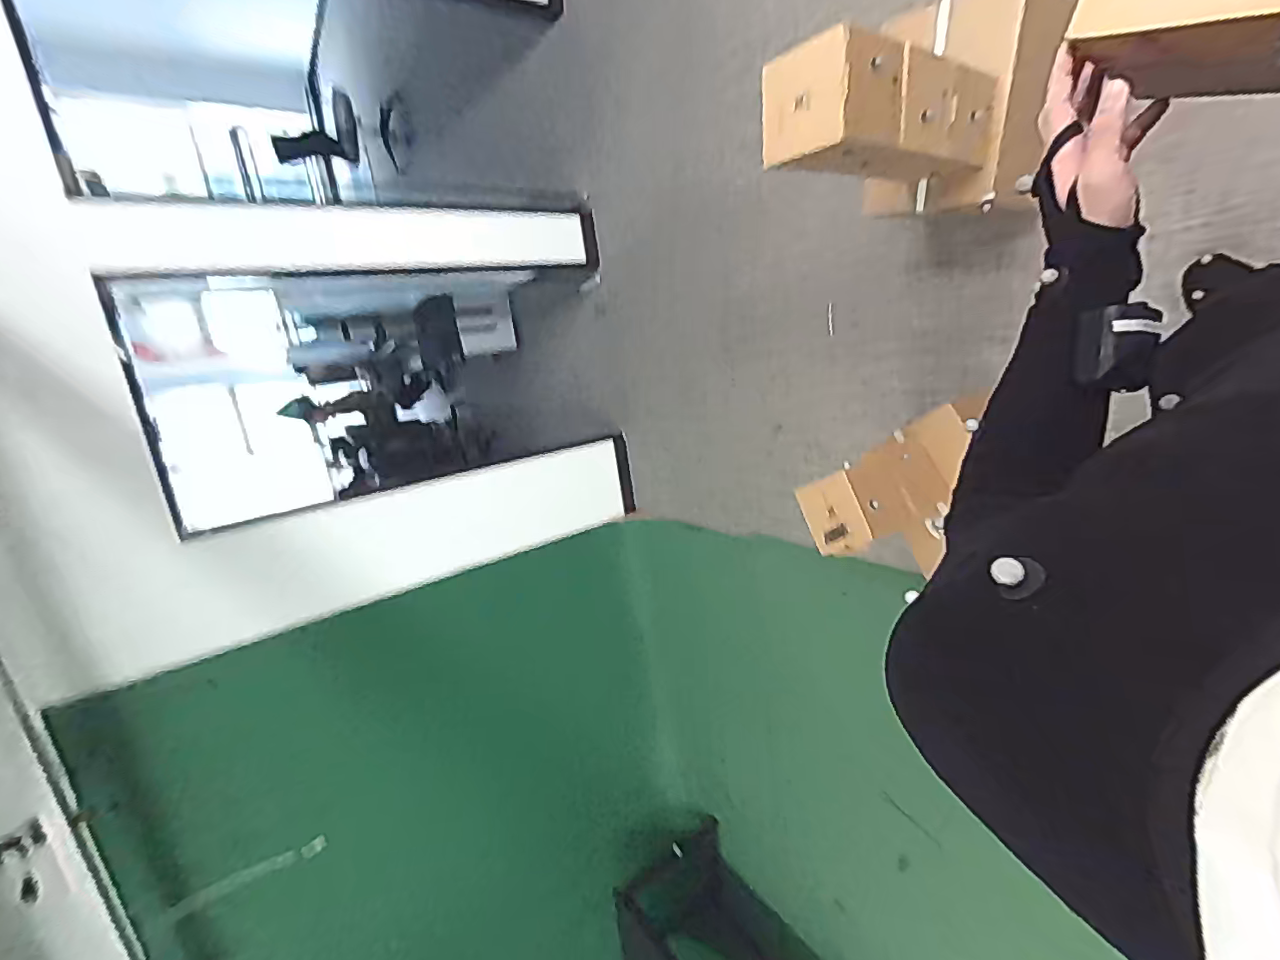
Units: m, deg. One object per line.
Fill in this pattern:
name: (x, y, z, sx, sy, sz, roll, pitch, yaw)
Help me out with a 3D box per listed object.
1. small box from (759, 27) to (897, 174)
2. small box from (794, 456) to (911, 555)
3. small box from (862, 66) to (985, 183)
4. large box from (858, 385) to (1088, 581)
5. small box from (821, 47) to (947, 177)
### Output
small box: (0.337, -0.665, 0.972, 0.179, 0.176, 0.168, 18, 118, 53)
small box: (0.519, 0.061, 1.317, 0.168, 0.176, 0.179, -34, 75, 56)
small box: (0.601, -0.741, 1.147, 0.179, 0.176, 0.168, 19, 118, 50)
large box: (0.899, 0.004, 1.484, 0.408, 0.320, 0.320, 63, 147, 14)
small box: (0.471, -0.704, 1.056, 0.179, 0.176, 0.168, 19, 120, 52)
